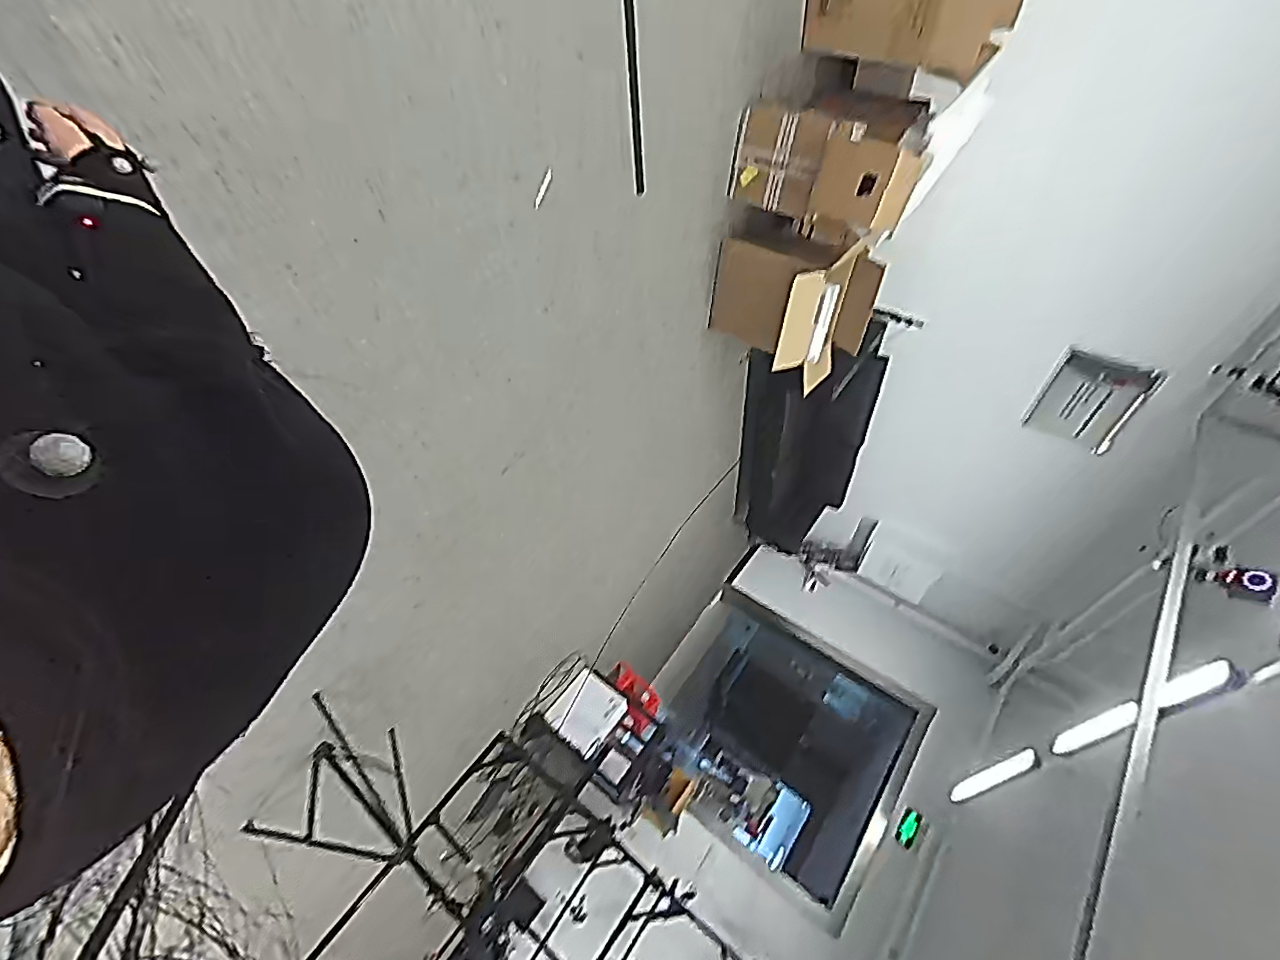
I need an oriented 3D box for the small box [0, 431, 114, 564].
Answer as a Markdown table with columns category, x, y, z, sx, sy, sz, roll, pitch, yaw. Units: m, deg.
| category | x | y | z | sx | sy | sz | roll | pitch | yaw |
| --- | --- | --- | --- | --- | --- | --- | --- | --- | --- |
| small box | -1.206 | 0.024 | 1.049 | 0.168 | 0.176 | 0.179 | -46 | 151 | -32 |
